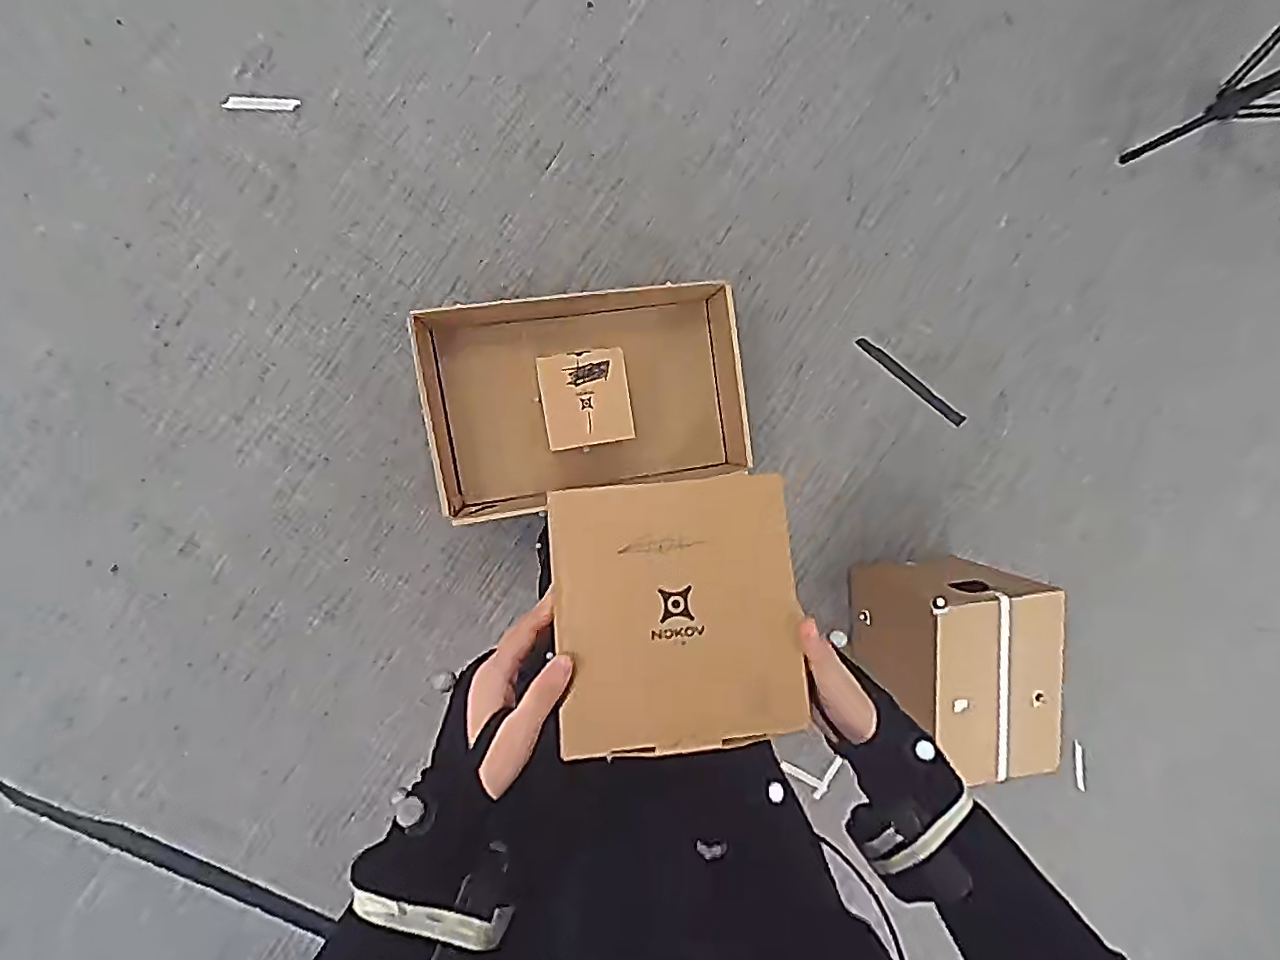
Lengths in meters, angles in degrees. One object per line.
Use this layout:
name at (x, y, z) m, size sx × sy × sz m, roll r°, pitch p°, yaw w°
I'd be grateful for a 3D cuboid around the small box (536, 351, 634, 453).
small box at (-0.117, -0.154, 1.092) m, size 0.168 × 0.176 × 0.179 m, roll -10°, pitch 98°, yaw -9°
